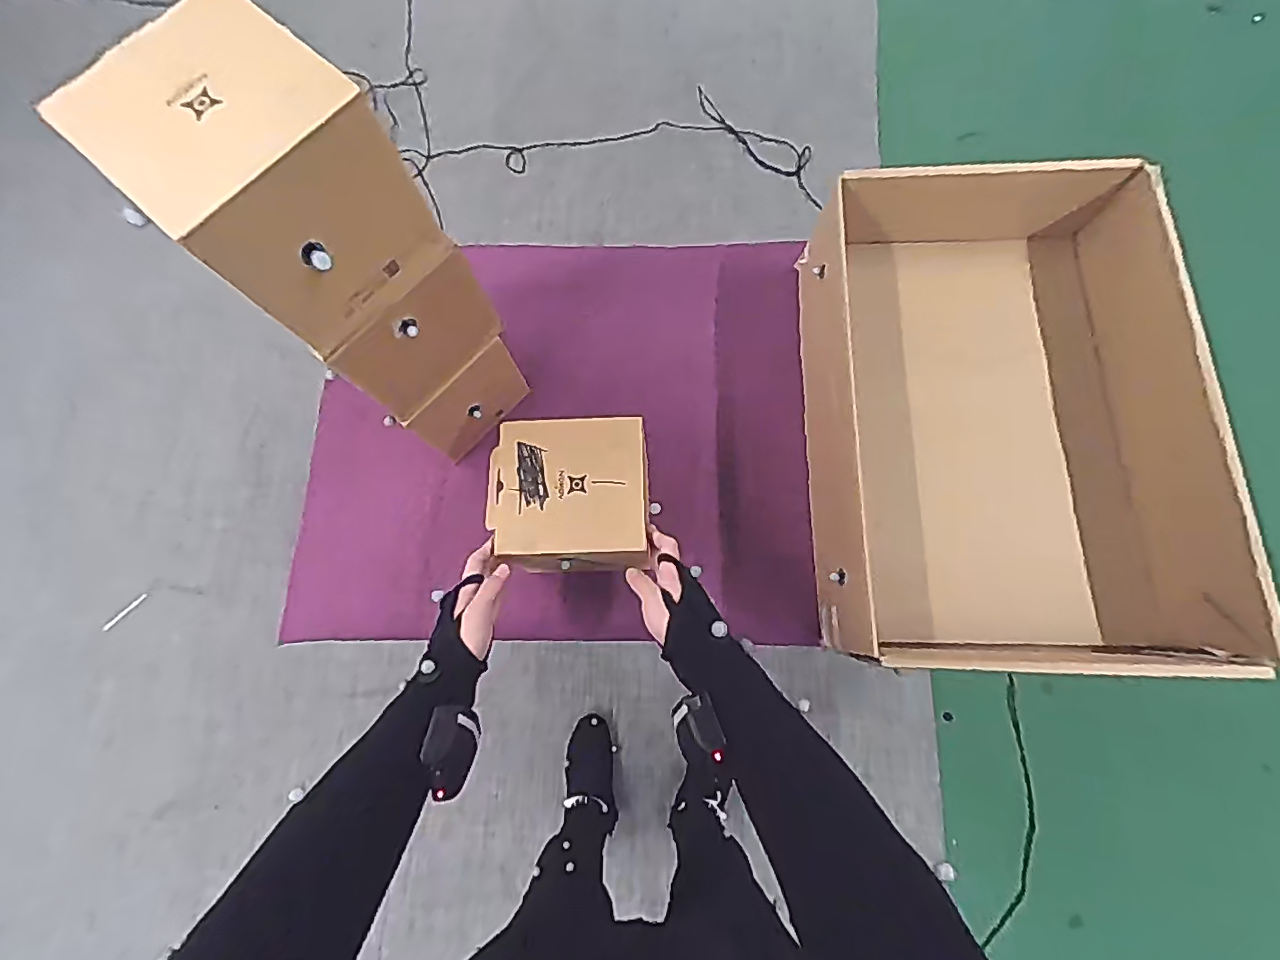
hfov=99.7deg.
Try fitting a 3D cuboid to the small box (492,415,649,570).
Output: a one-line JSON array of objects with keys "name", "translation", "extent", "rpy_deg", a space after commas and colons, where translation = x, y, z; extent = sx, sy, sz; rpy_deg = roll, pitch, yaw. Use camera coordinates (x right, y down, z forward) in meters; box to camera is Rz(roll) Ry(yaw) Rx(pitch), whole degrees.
[{"name": "small box", "translation": [-0.079, 0.025, 0.710], "extent": [0.179, 0.176, 0.168], "rpy_deg": [-2, 73, 2]}]

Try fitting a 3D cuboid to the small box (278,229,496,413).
[{"name": "small box", "translation": [-0.294, -0.205, 0.615], "extent": [0.168, 0.176, 0.179], "rpy_deg": [42, 80, 11]}]

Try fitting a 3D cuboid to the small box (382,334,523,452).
[{"name": "small box", "translation": [-0.293, -0.159, 0.771], "extent": [0.179, 0.176, 0.168], "rpy_deg": [42, 80, 12]}]

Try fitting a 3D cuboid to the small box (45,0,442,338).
[{"name": "small box", "translation": [-0.305, -0.248, 0.459], "extent": [0.179, 0.176, 0.168], "rpy_deg": [41, 81, 11]}]
